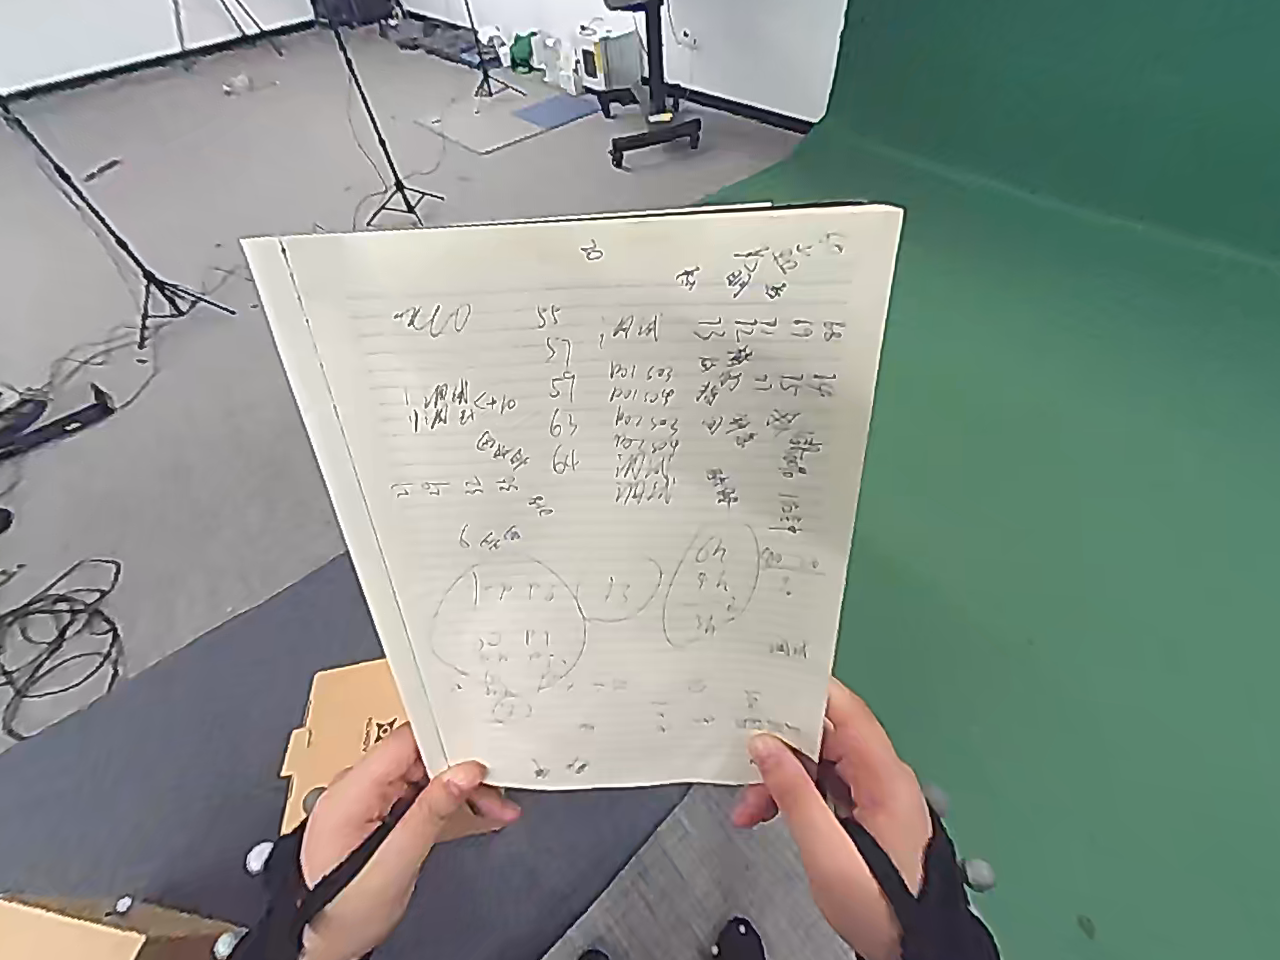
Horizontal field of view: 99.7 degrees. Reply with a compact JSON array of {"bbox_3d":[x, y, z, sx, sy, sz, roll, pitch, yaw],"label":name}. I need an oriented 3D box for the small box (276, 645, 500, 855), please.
[{"bbox_3d":[-0.267,0.315,0.626,0.179,0.176,0.168,-12,51,-2],"label":"small box"}]

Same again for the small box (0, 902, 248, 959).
[{"bbox_3d":[-0.522,0.506,0.496,0.179,0.176,0.168,5,51,9],"label":"small box"}]
